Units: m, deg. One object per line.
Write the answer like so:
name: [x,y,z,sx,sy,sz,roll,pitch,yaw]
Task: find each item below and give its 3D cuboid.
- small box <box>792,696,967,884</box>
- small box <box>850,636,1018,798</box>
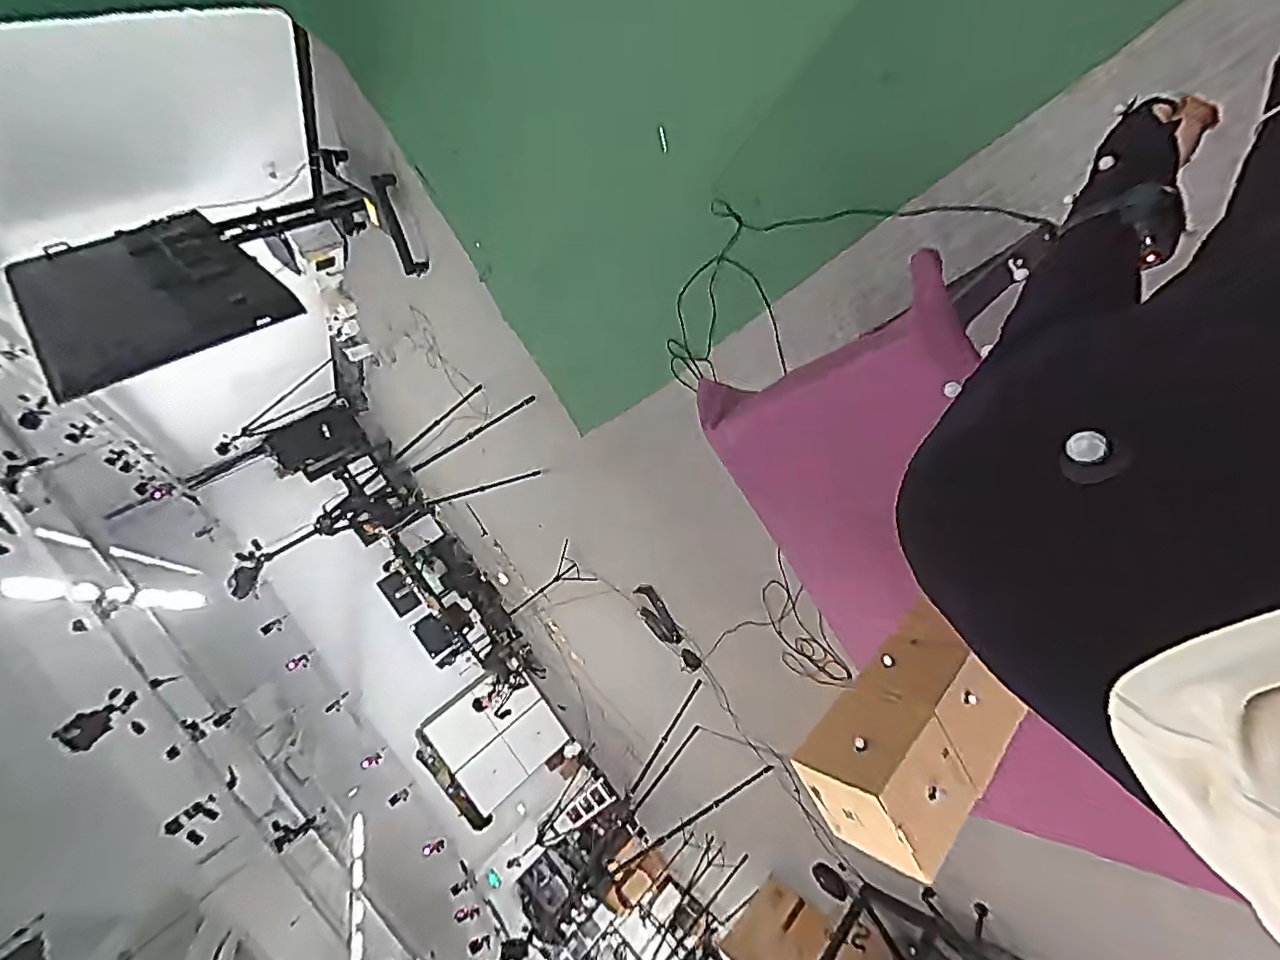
small box: [0.385,0.473,0.861,0.168,0.176,0.179,61,150,-7]
small box: [0.507,0.393,0.934,0.179,0.176,0.168,60,151,-7]
